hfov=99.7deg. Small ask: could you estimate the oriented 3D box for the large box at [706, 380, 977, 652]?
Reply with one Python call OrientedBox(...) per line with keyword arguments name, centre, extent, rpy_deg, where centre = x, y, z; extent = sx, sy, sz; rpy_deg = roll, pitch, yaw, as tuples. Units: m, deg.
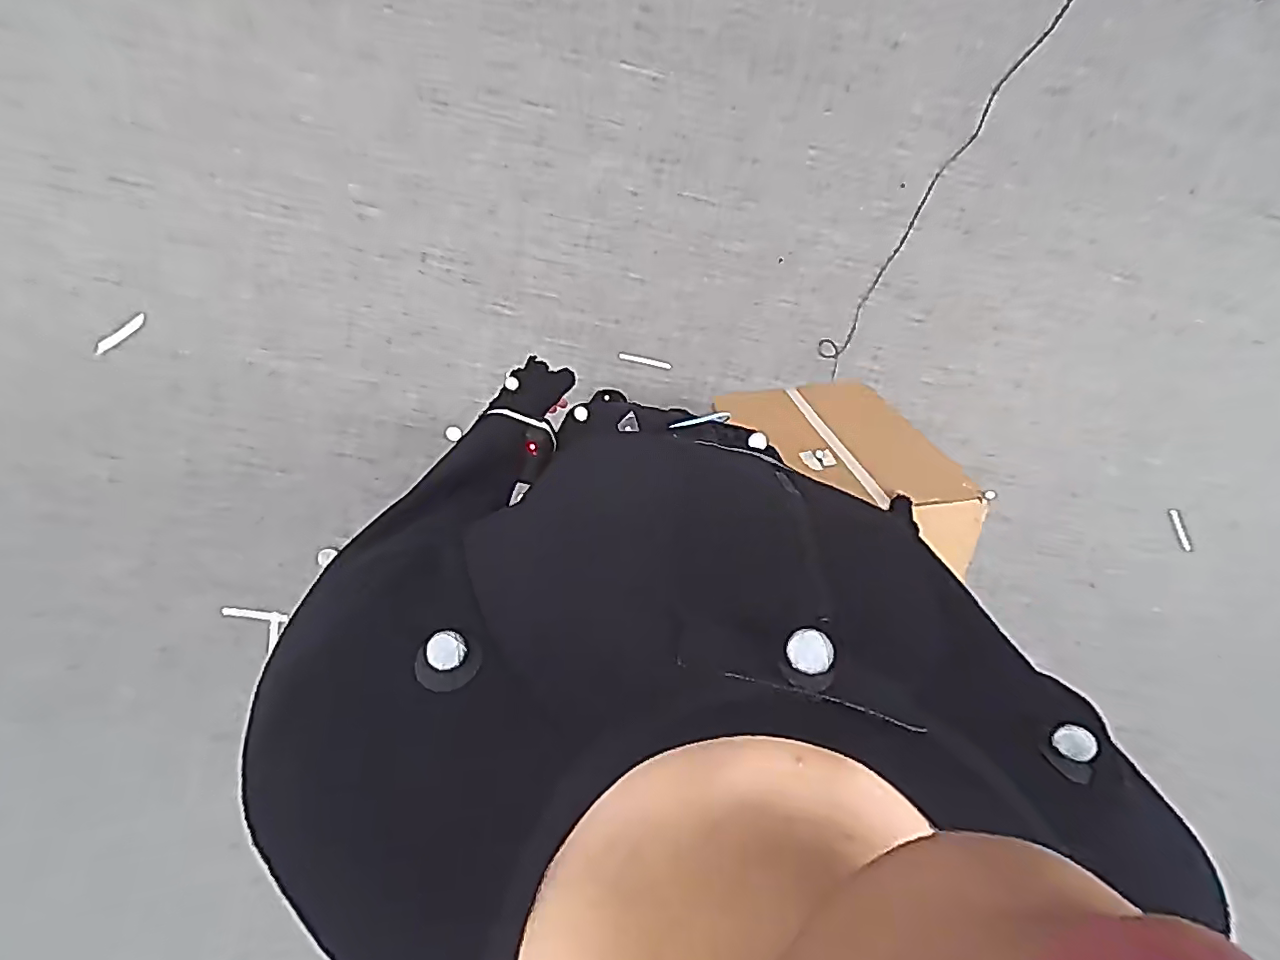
OrientedBox(name="large box", centre=(0.319, 0.050, 1.014), extent=(0.320, 0.408, 0.320), rpy_deg=(-7, 127, -3))
